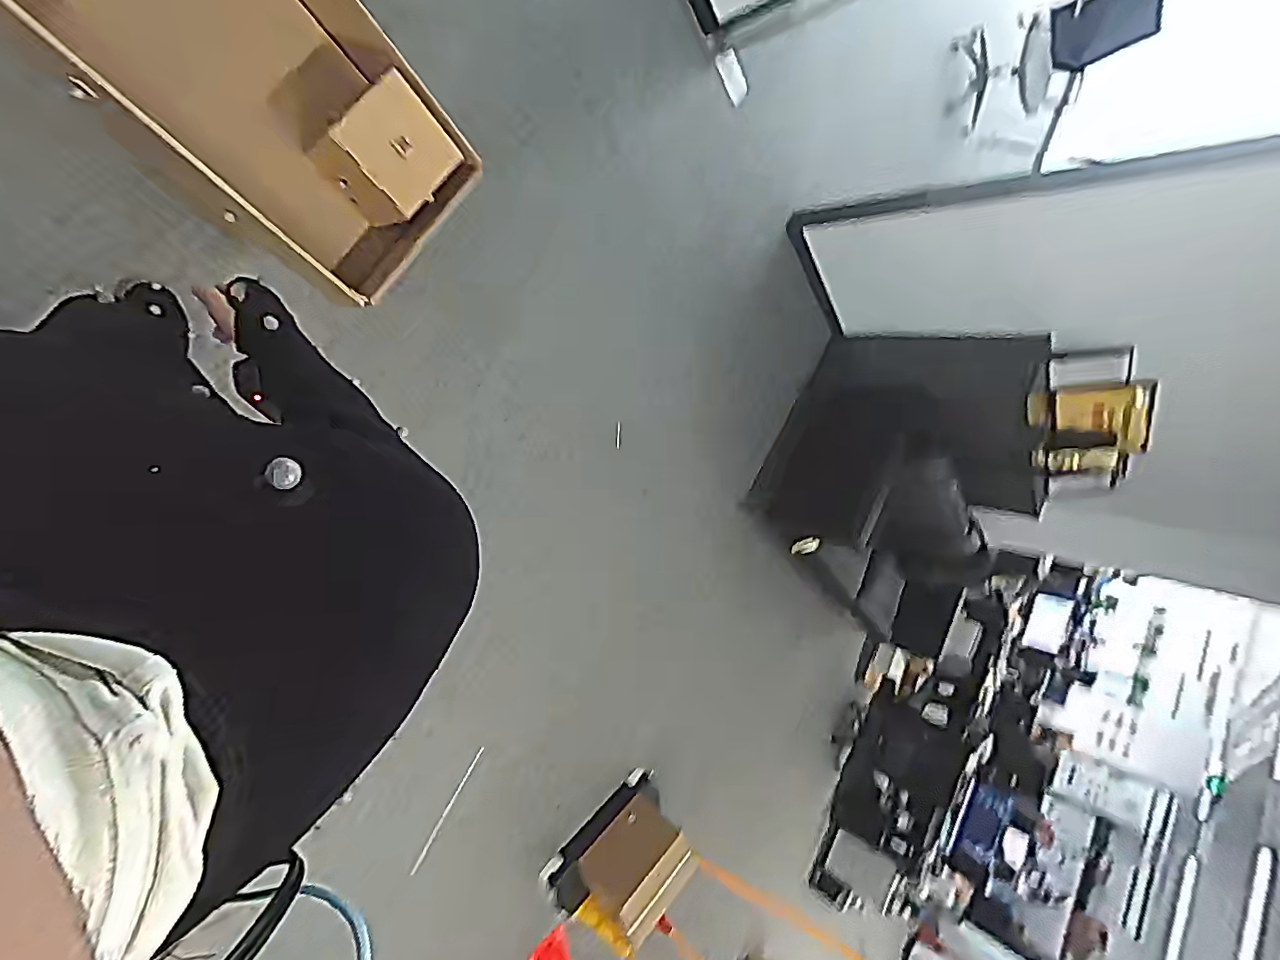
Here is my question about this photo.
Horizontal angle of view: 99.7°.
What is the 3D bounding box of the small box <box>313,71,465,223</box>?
[{"bbox_3d":[-0.475,-0.615,1.019,0.179,0.176,0.168,-58,135,-15],"label":"small box"}]
